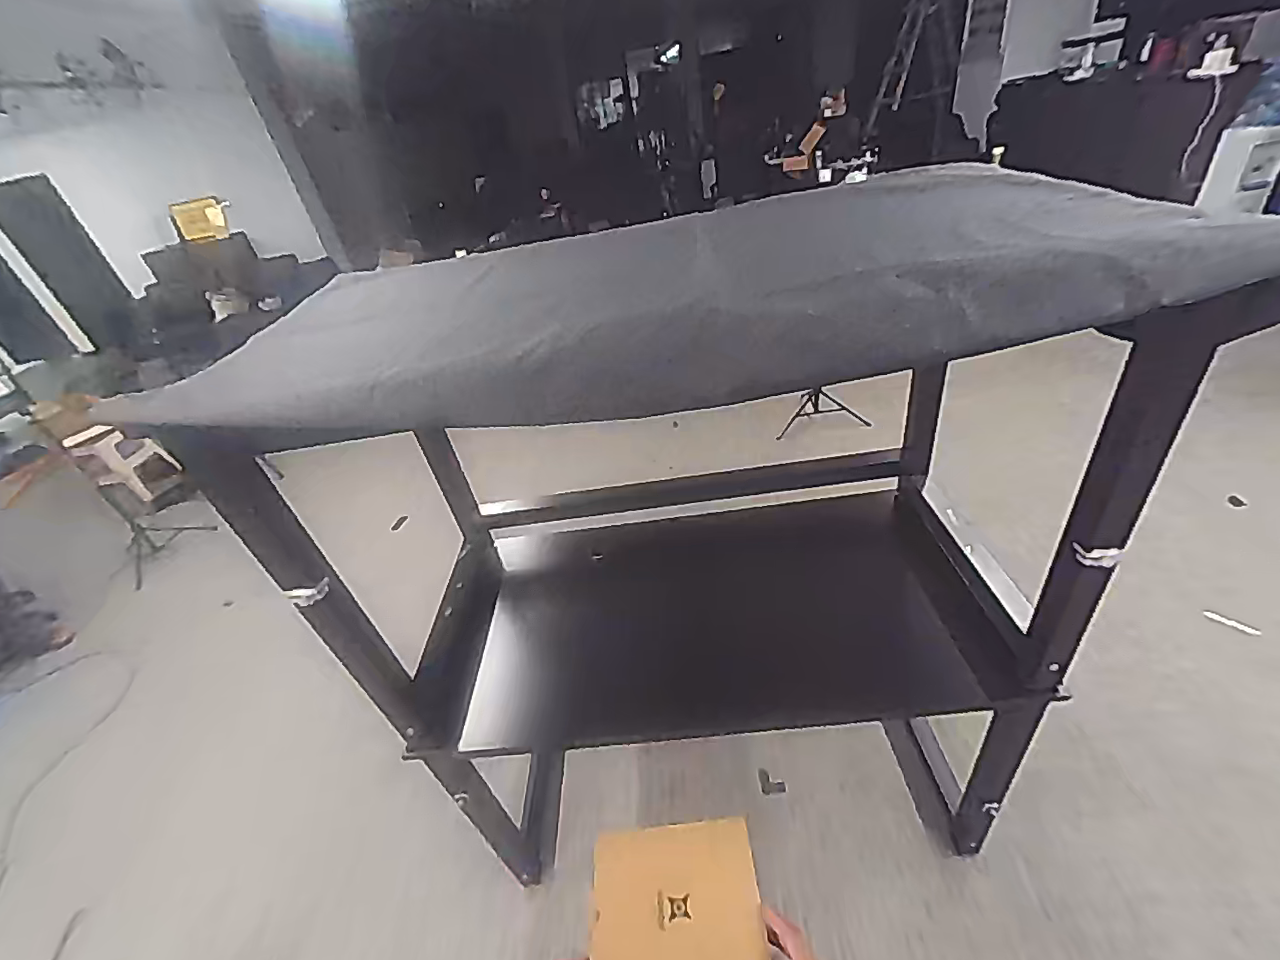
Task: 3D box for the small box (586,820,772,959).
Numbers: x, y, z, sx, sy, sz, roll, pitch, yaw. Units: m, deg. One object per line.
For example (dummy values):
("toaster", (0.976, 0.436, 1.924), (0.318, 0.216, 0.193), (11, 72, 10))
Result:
("small box", (0.046, 0.501, 0.575), (0.179, 0.176, 0.168), (-8, 25, 3))
